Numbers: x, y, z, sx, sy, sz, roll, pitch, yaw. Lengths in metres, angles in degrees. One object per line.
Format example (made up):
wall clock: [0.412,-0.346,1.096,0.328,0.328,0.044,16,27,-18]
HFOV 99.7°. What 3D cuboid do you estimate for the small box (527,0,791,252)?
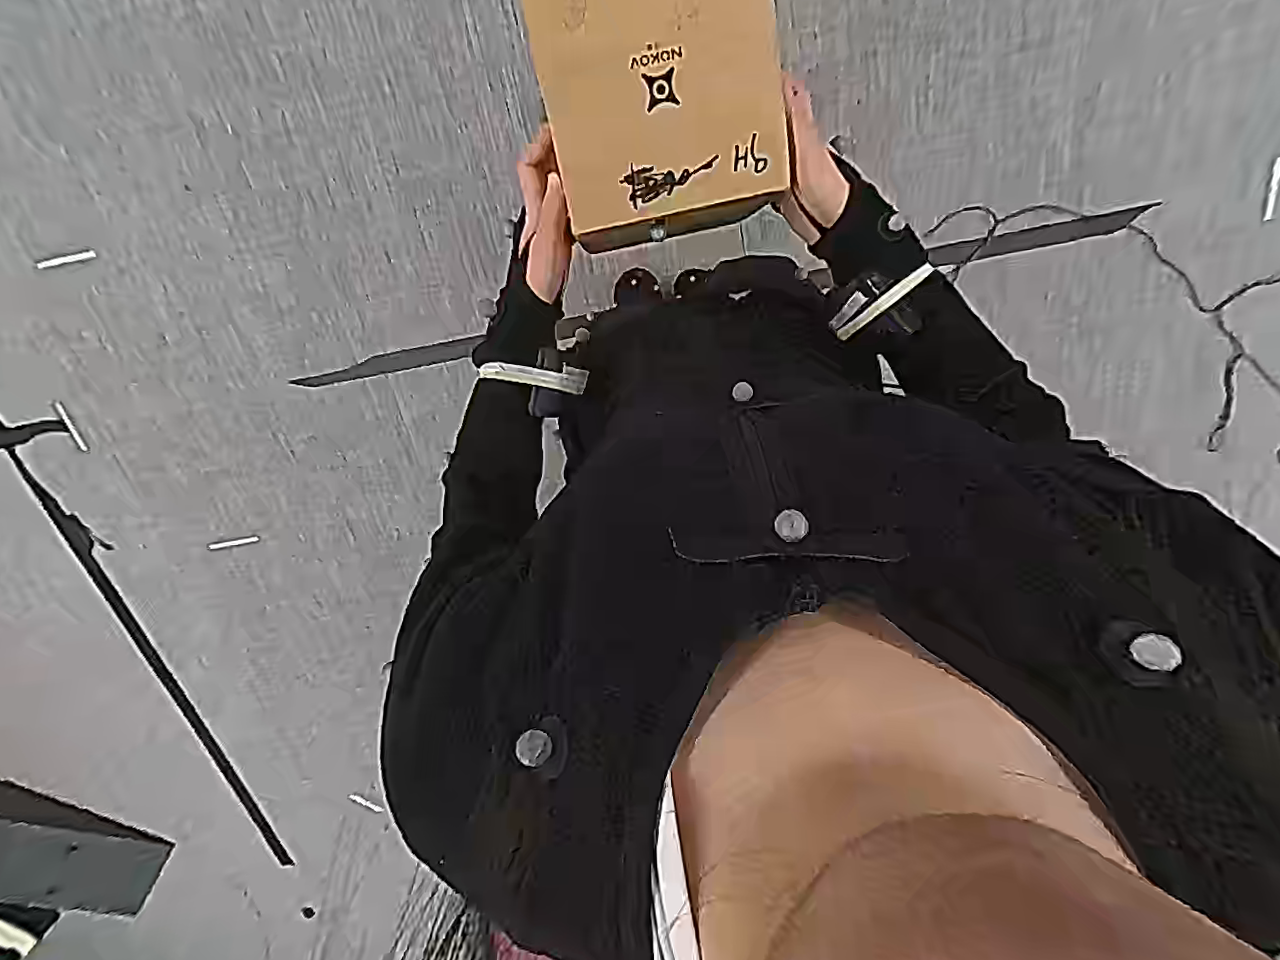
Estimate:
small box: [0.011,-0.301,0.444,0.168,0.176,0.179,-11,108,2]

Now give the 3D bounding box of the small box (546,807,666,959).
small box: [-0.054,0.715,0.954,0.179,0.176,0.168,-9,112,2]

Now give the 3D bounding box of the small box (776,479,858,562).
small box: [0.491,0.106,1.512,0.179,0.176,0.168,-9,109,5]
